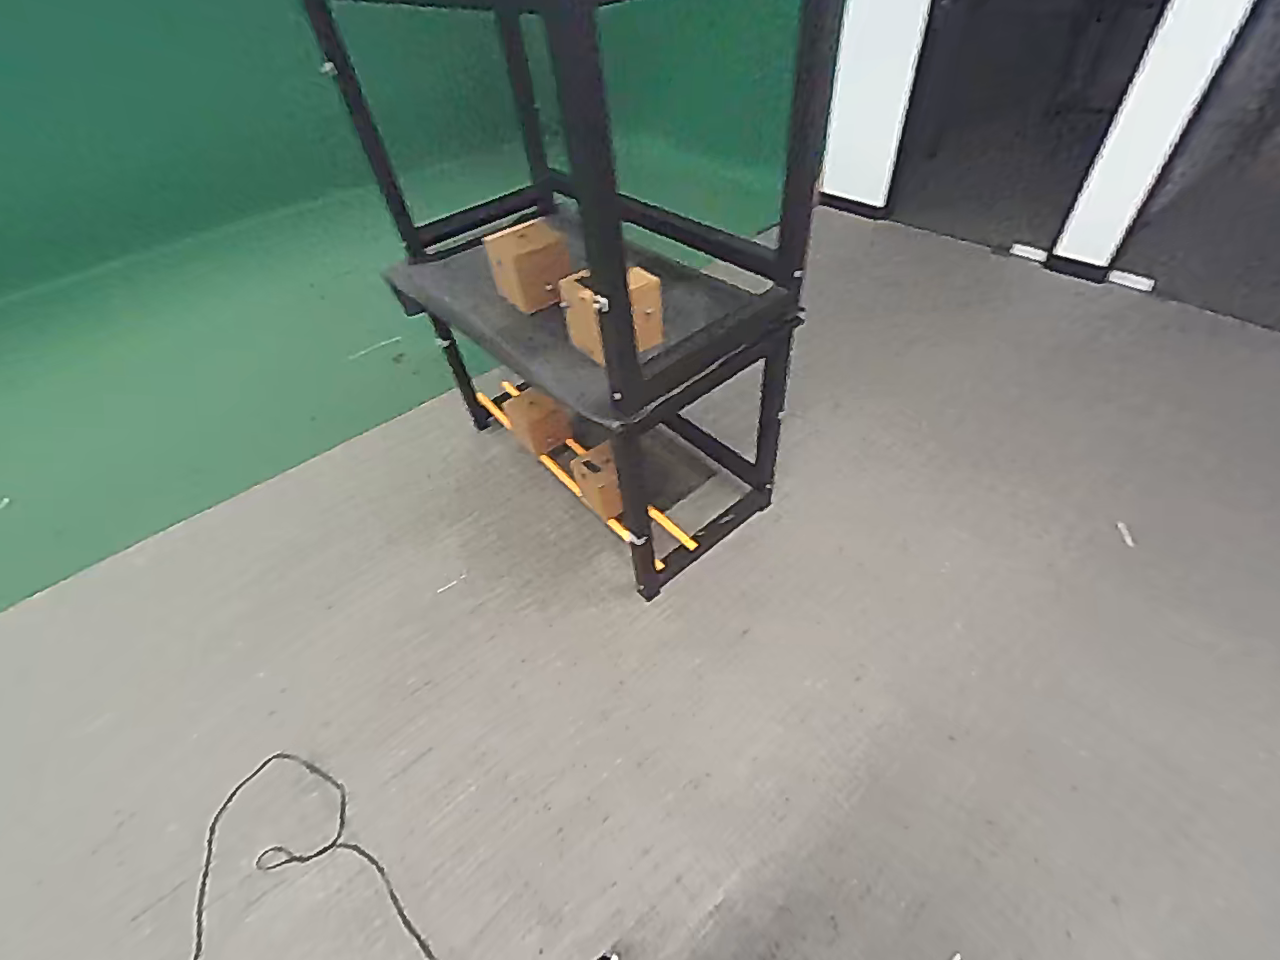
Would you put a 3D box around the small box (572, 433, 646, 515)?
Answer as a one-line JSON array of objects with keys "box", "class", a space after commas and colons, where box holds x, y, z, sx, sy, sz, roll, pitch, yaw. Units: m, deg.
[{"box": [-0.097, -0.016, 1.795, 0.179, 0.176, 0.168, -31, 52, -20], "class": "small box"}]

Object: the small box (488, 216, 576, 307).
[{"box": [-0.300, -0.613, 1.519, 0.168, 0.176, 0.179, -31, 51, -20], "class": "small box"}]
